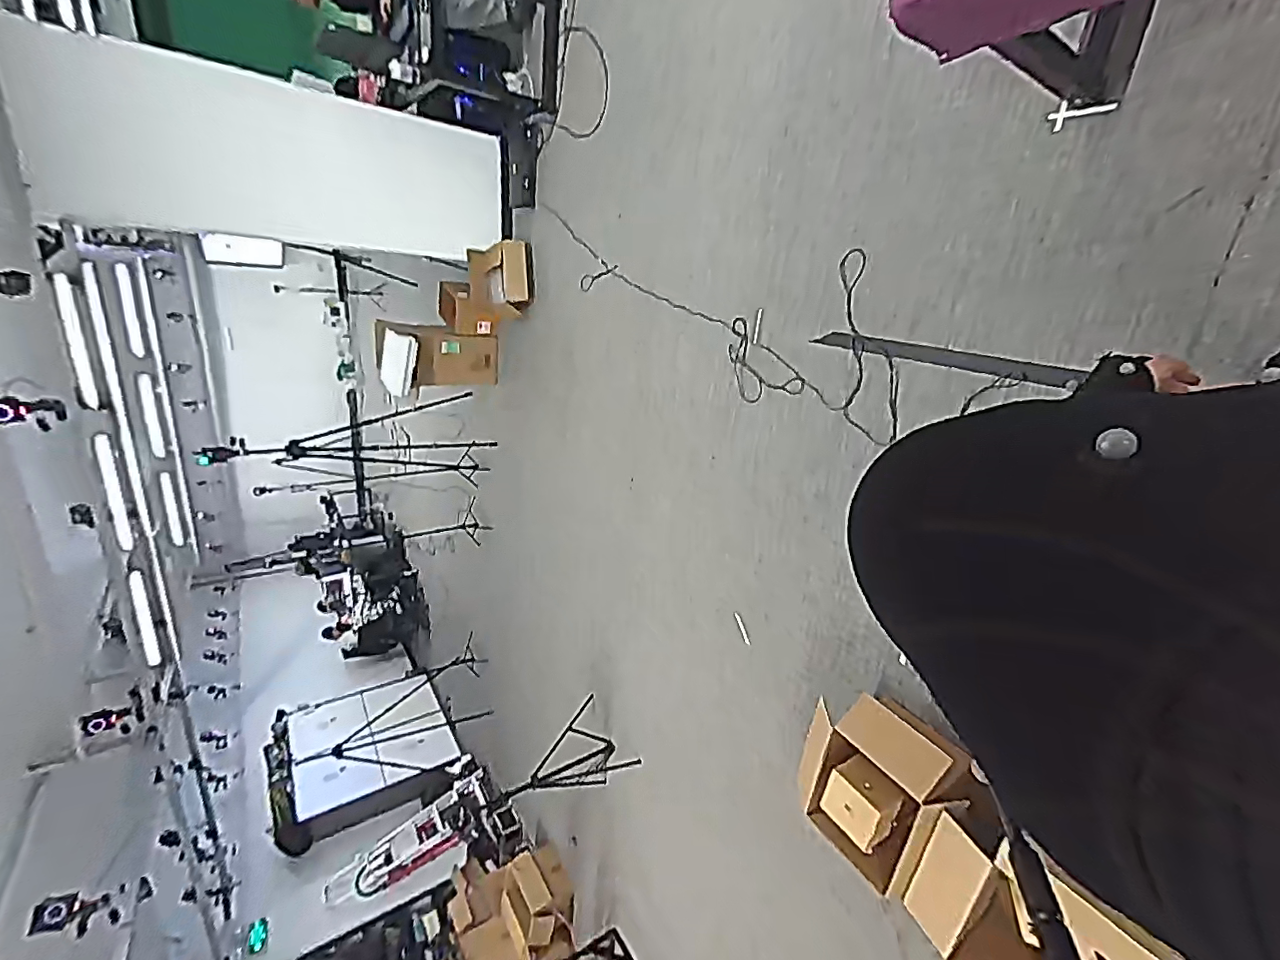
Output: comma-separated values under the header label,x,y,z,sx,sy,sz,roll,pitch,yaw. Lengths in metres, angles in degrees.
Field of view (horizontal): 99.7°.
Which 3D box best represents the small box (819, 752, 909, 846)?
label,x,y,z,sx,sy,sz,roll,pitch,yaw
small box,0.706,0.992,1.706,0.179,0.176,0.168,34,122,48
